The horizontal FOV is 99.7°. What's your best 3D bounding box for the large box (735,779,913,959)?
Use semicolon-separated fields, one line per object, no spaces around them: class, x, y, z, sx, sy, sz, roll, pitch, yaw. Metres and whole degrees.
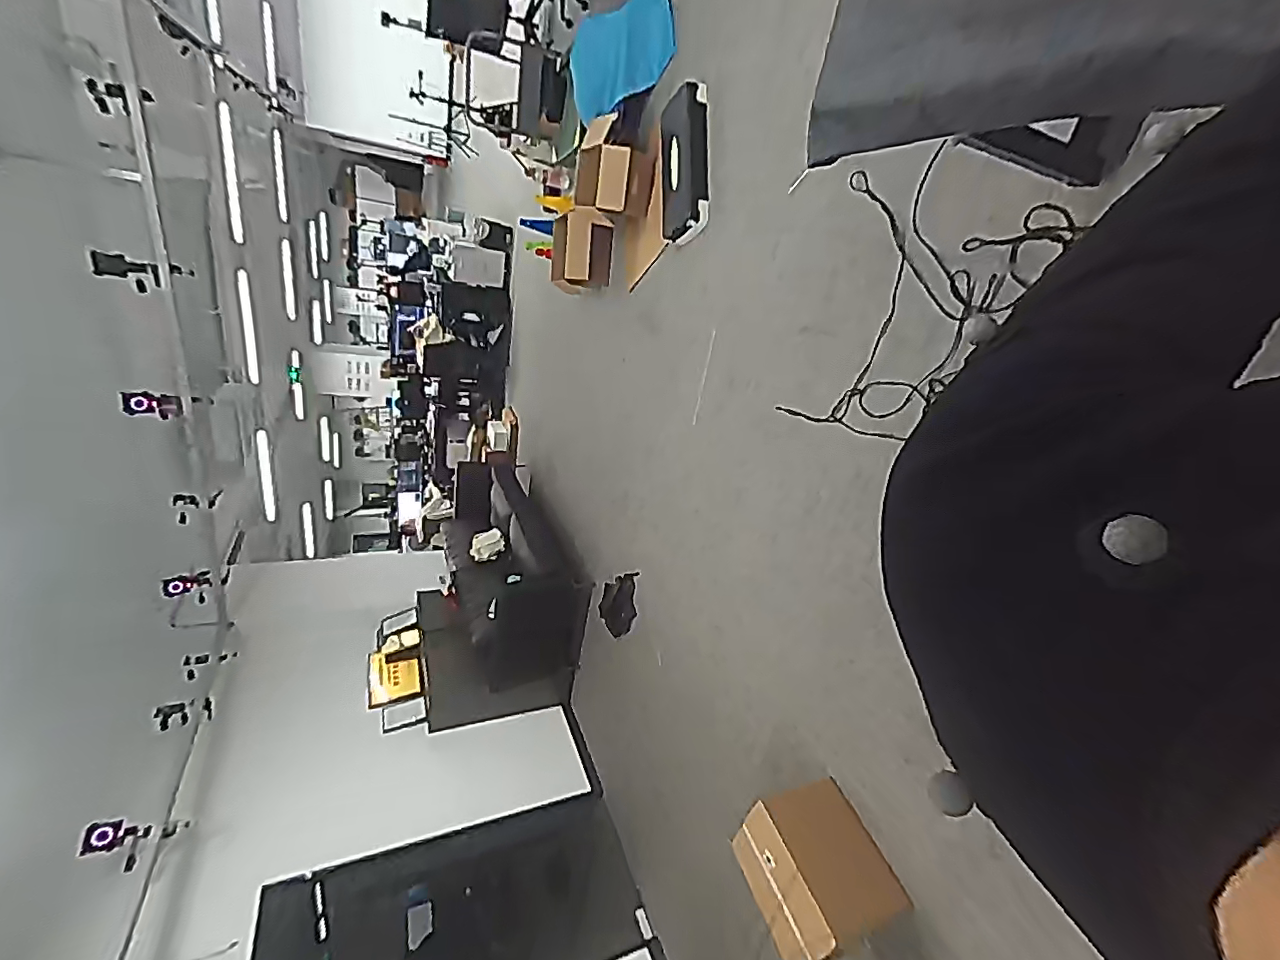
large box;0.574;1.271;1.750;0.408;0.320;0.320;-122;40;-49
